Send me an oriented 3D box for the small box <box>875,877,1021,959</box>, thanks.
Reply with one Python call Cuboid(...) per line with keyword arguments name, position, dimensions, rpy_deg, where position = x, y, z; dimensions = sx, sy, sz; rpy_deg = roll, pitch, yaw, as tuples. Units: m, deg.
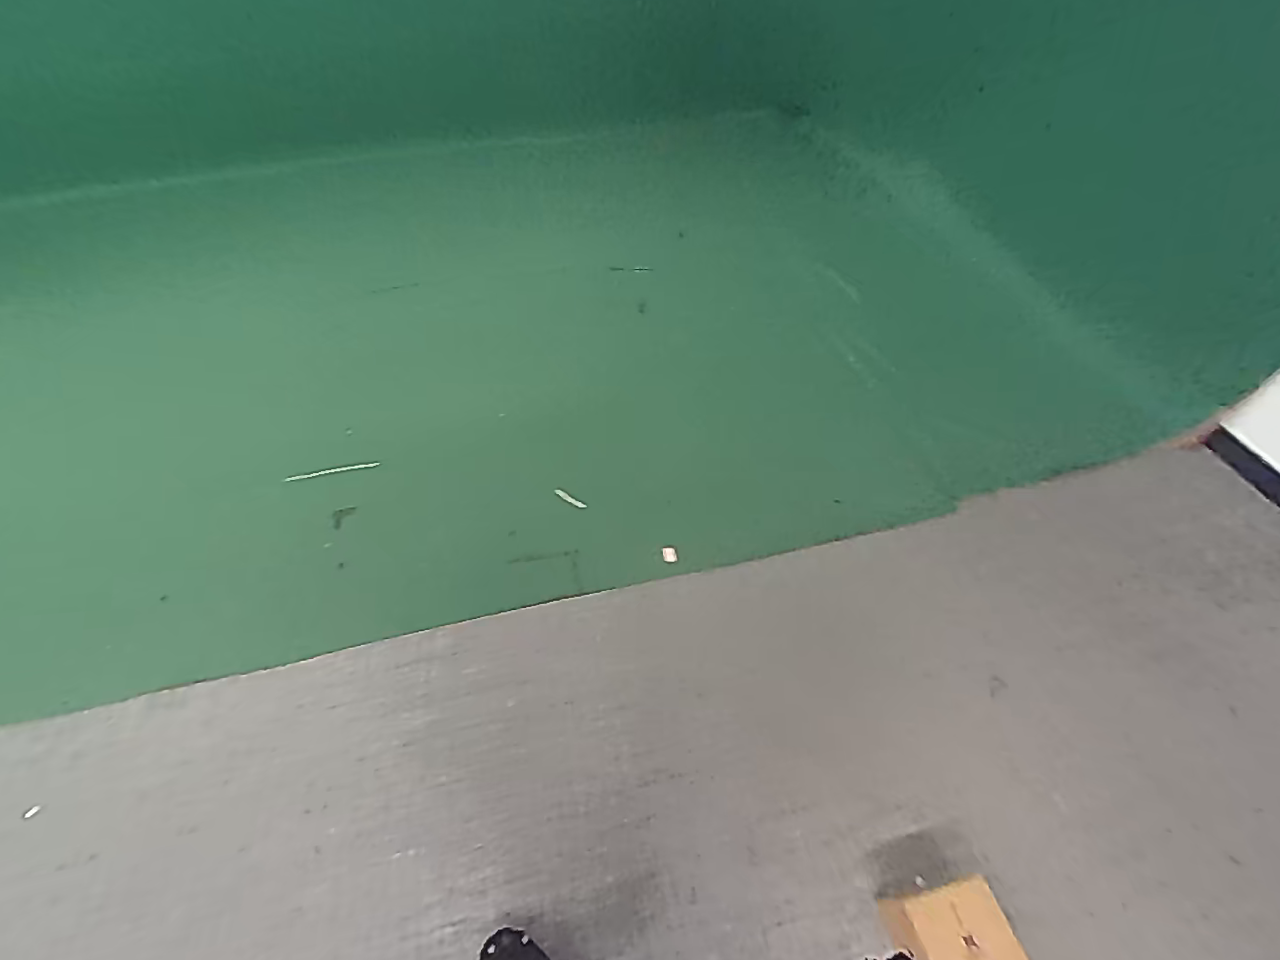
Cuboid(name="small box", position=(0.572, 0.866, 1.005), dimensions=(0.168, 0.176, 0.179), rpy_deg=(-12, 52, -7))
